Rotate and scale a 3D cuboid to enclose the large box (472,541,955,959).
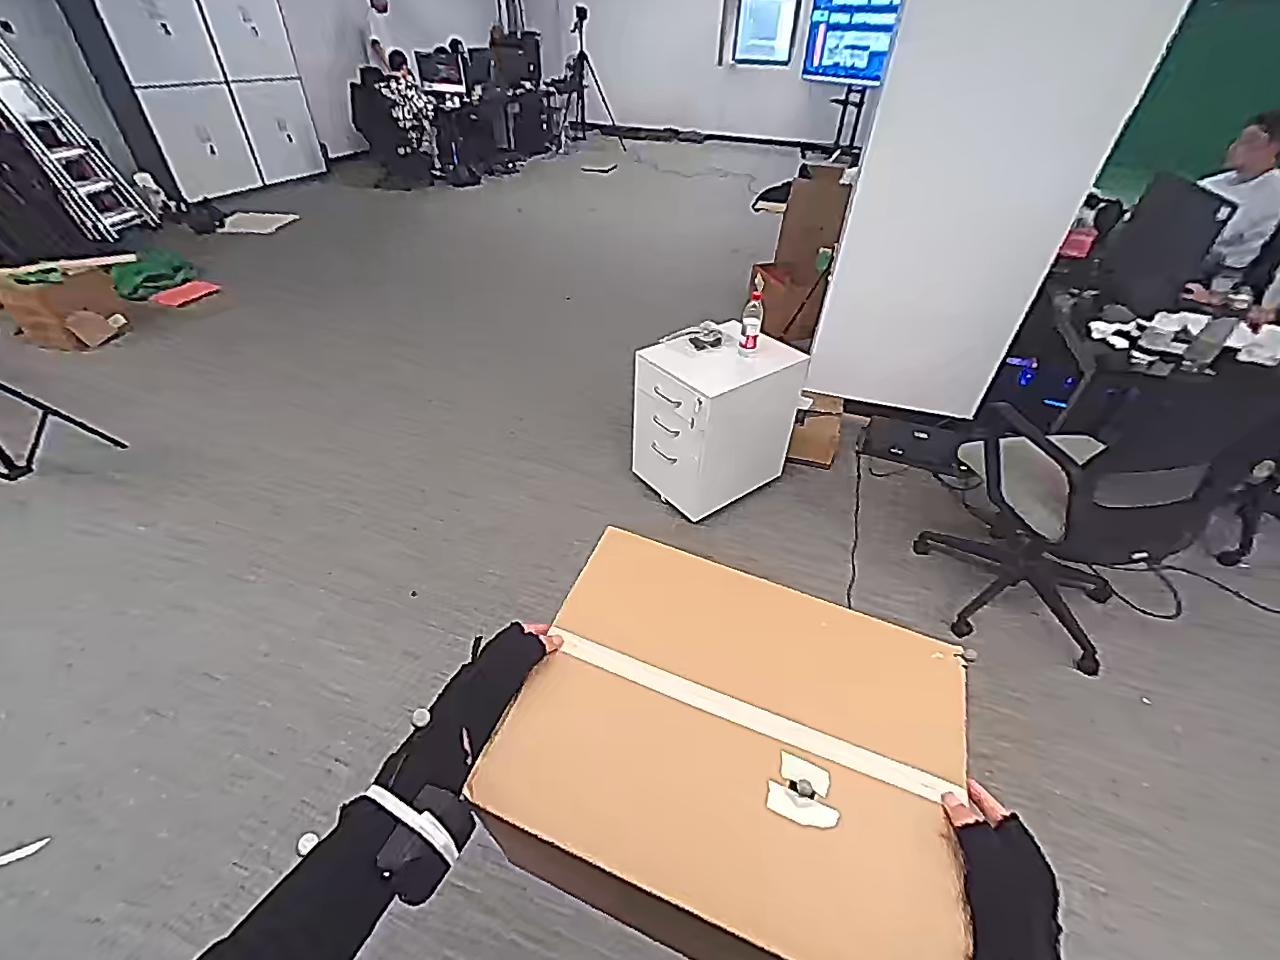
[{"bbox_3d":[0.079,0.332,0.626,0.408,0.320,0.320,19,49,12],"label":"large box"}]
